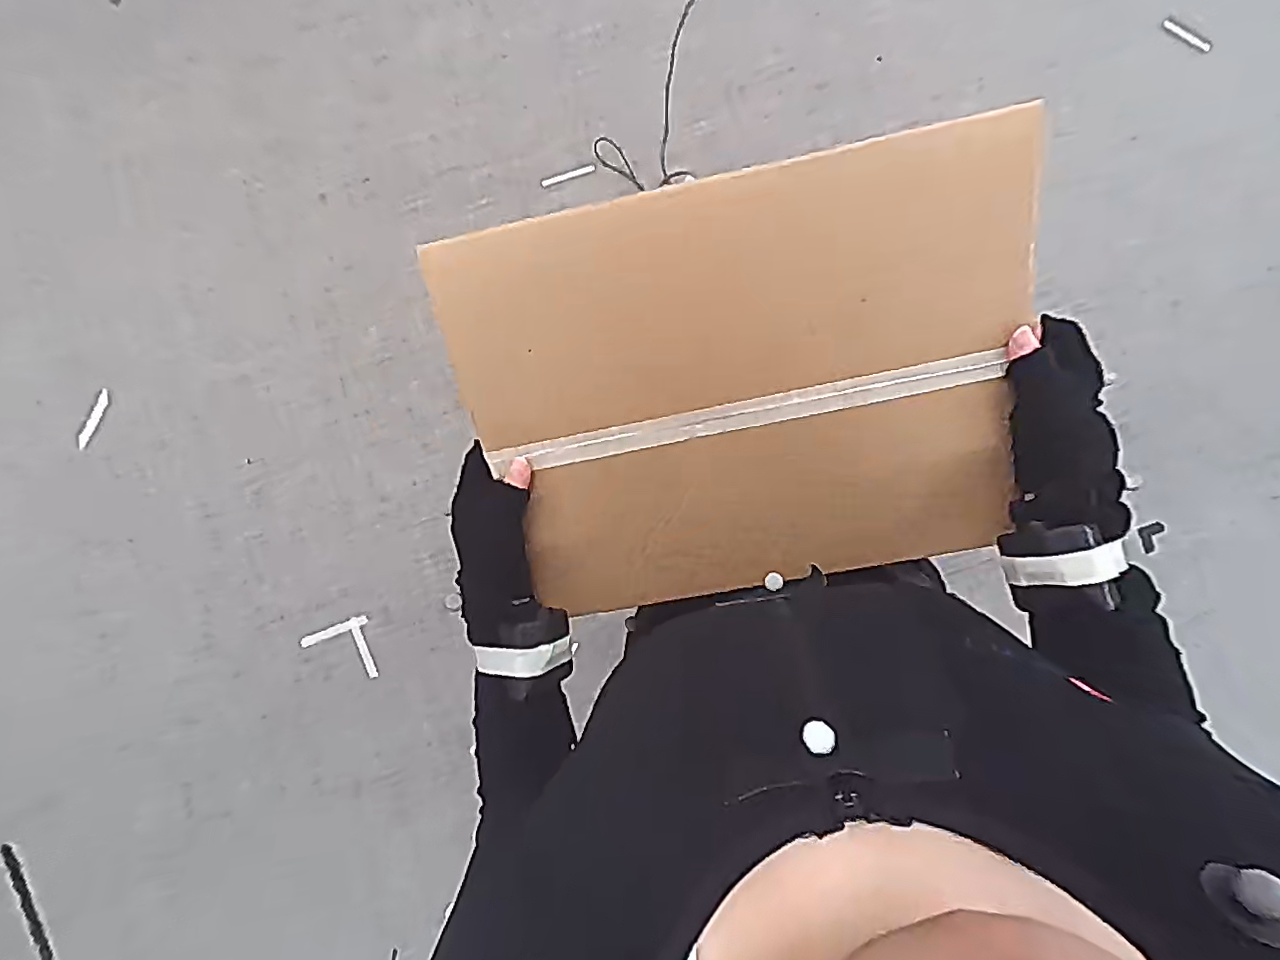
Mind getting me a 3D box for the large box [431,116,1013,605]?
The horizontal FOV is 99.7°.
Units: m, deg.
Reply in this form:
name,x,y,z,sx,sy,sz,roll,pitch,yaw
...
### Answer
name,x,y,z,sx,sy,sz,roll,pitch,yaw
large box,0.077,-0.121,0.555,0.408,0.320,0.320,-11,114,5
